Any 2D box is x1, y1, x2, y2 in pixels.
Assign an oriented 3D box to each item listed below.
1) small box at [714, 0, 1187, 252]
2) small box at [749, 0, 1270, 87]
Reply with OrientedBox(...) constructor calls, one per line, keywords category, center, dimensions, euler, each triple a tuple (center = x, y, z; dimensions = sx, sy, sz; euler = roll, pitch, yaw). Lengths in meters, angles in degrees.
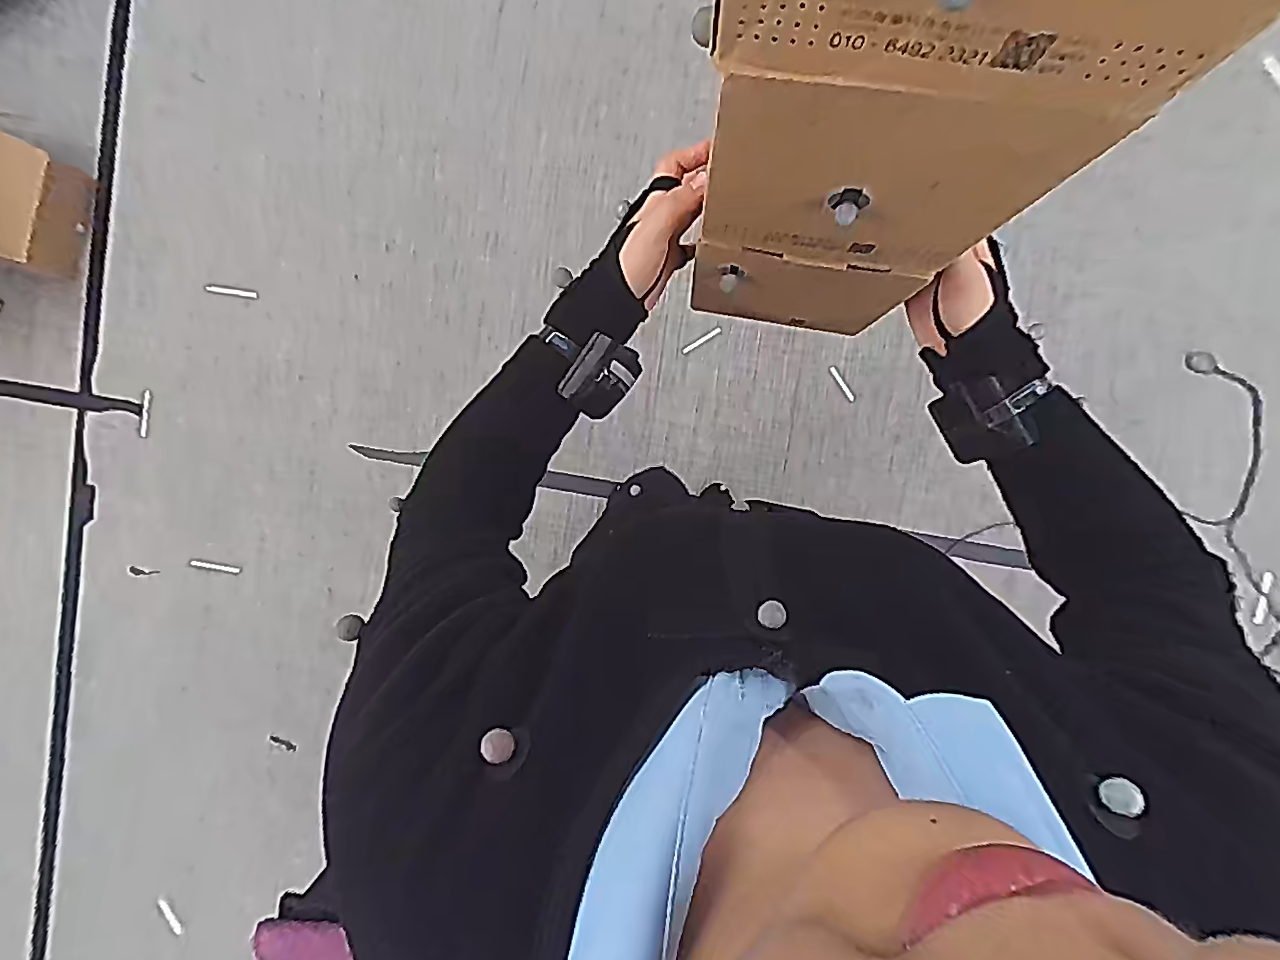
OrientedBox(category="small box", center=(0.134, -0.240, 0.278), dimensions=(0.168, 0.176, 0.179), euler=(9, 91, 2))
OrientedBox(category="small box", center=(0.120, -0.237, 0.116), dimensions=(0.168, 0.176, 0.179), euler=(8, 92, 3))
